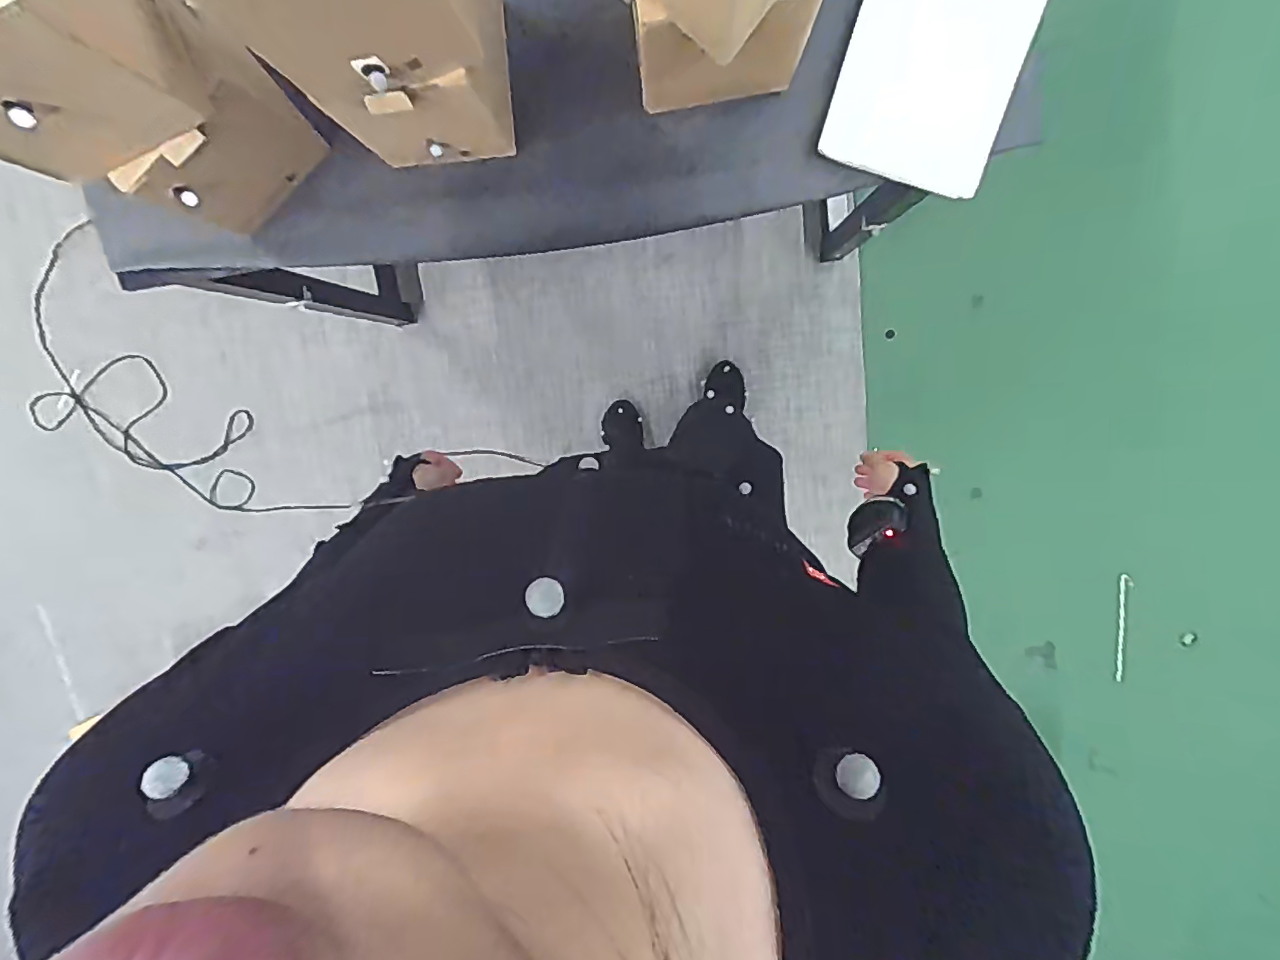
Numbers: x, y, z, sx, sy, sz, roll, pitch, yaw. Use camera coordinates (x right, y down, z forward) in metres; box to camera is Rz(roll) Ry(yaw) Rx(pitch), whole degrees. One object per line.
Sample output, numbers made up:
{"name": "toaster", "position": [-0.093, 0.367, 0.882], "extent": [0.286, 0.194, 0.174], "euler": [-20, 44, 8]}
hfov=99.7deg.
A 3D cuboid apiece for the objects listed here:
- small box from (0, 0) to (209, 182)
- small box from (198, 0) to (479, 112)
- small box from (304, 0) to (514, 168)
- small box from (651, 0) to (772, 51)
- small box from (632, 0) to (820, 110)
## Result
{"name": "small box", "position": [-0.537, -0.392, 0.462], "extent": [0.179, 0.176, 0.168], "euler": [-20, 98, 8]}
{"name": "small box", "position": [-0.255, -0.448, 0.435], "extent": [0.168, 0.176, 0.179], "euler": [-14, 99, 7]}
{"name": "small box", "position": [-0.248, -0.476, 0.595], "extent": [0.168, 0.176, 0.179], "euler": [-3, 99, 5]}
{"name": "small box", "position": [0.055, -0.488, 0.407], "extent": [0.179, 0.176, 0.168], "euler": [39, 100, -3]}
{"name": "small box", "position": [0.078, -0.527, 0.566], "extent": [0.179, 0.176, 0.168], "euler": [-7, 99, 6]}
